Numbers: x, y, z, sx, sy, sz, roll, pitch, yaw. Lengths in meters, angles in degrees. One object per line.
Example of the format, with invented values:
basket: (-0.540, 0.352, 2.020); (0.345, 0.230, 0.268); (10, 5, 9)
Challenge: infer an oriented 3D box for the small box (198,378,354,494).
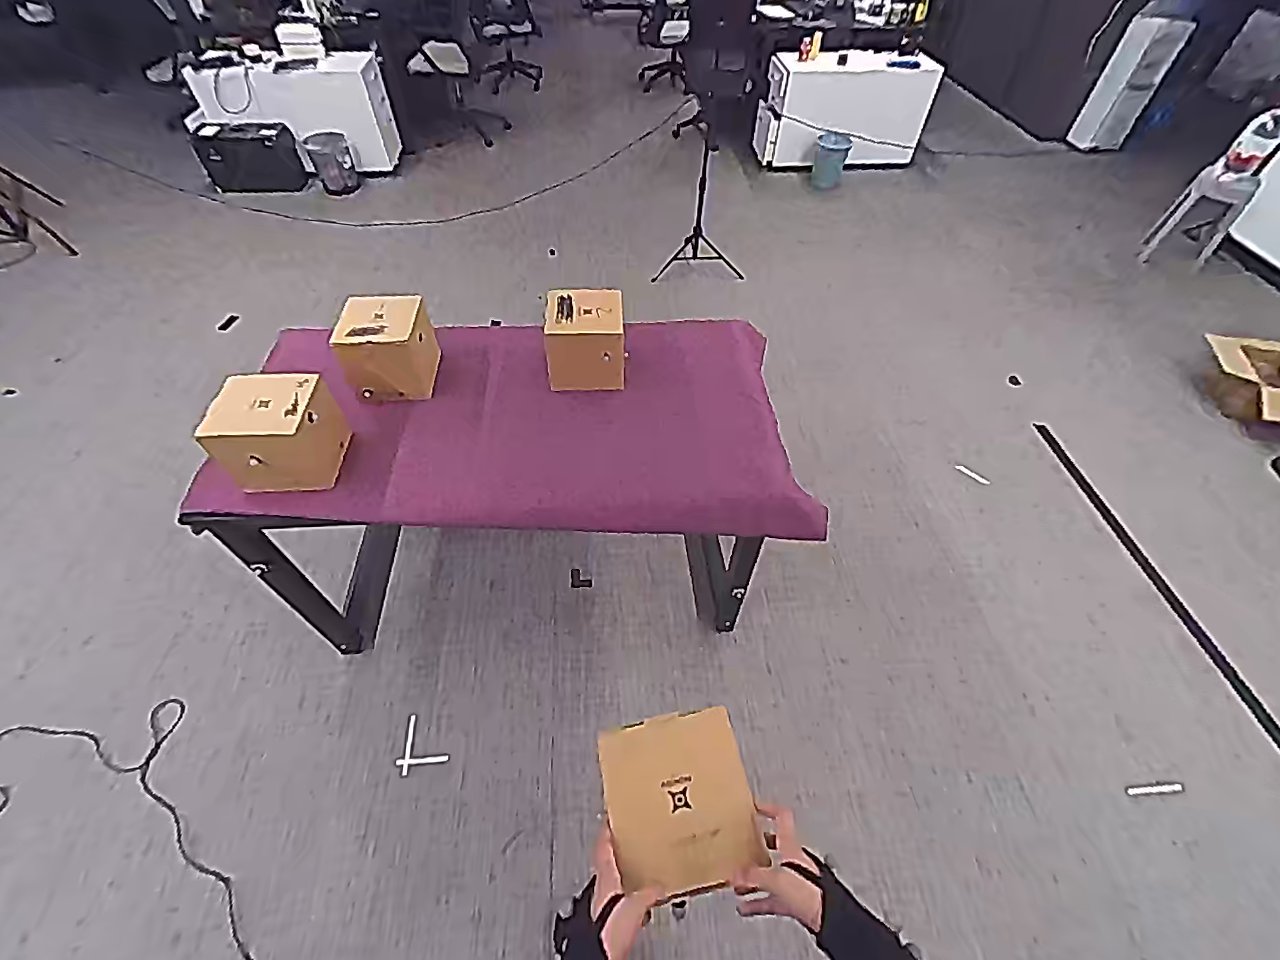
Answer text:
small box: (-0.711, -0.083, 1.080); (0.179, 0.176, 0.168); (-3, 52, -3)

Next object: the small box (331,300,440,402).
small box: (-0.578, -0.295, 1.257); (0.168, 0.176, 0.179); (-3, 51, -4)

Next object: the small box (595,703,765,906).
small box: (0.037, 0.408, 0.679); (0.168, 0.176, 0.179); (-8, 51, -7)
